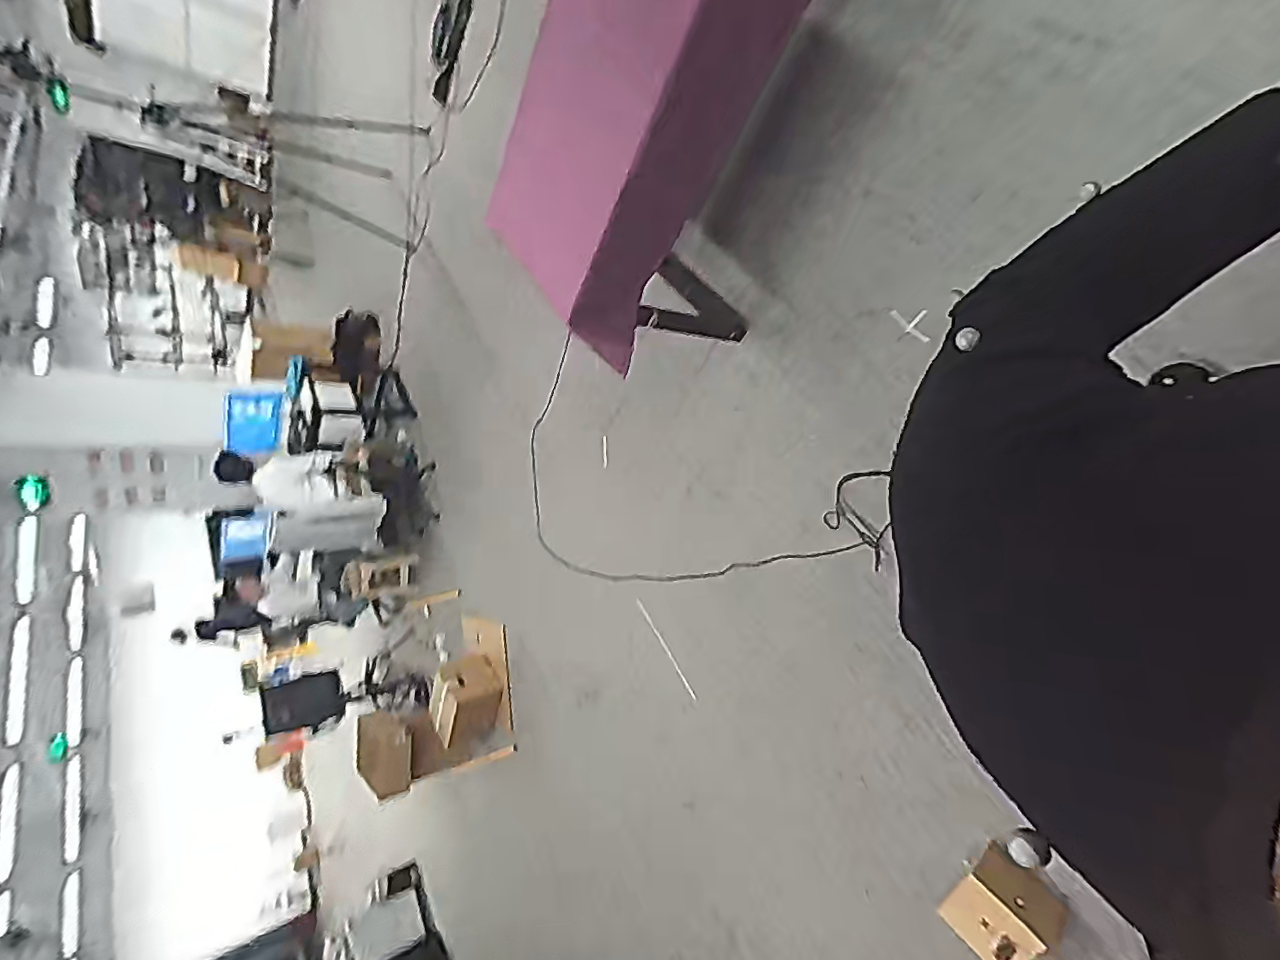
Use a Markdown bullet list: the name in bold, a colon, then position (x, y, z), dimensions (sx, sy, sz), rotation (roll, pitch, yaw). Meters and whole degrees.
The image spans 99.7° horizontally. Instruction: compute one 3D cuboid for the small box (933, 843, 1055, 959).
- **small box**: position (0.871, 1.048, 1.326), dimensions (0.179, 0.176, 0.168), rotation (40, 121, 40)
